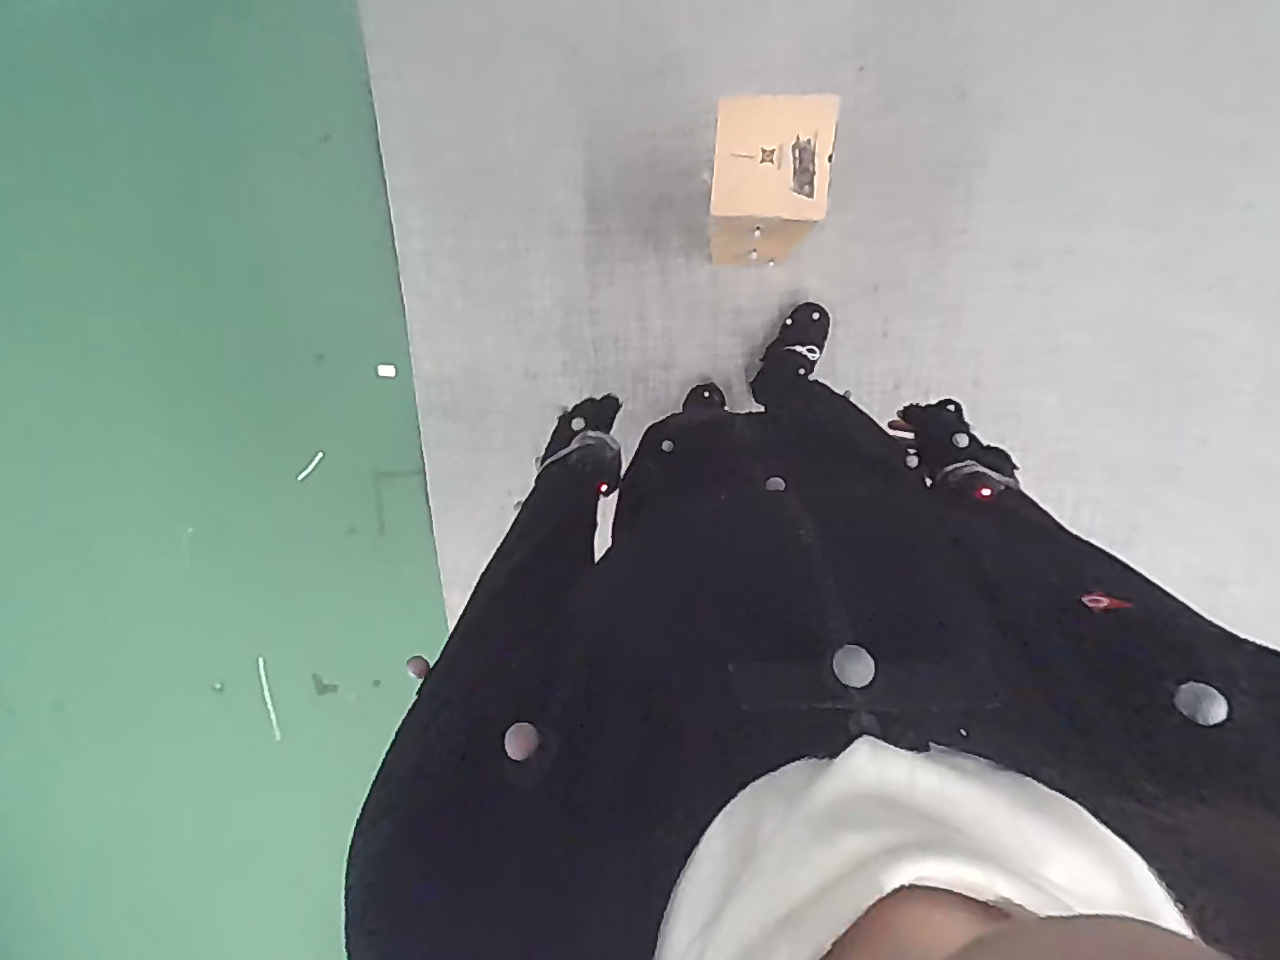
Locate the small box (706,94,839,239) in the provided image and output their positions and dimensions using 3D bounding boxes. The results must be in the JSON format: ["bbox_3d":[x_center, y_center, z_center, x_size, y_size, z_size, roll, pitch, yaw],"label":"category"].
[{"bbox_3d":[0.203,-0.497,0.878,0.179,0.176,0.168,6,105,7],"label":"small box"}]

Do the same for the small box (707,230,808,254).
[{"bbox_3d":[0.224,-0.536,1.037,0.179,0.176,0.168,3,104,5],"label":"small box"}]

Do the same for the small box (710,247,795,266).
[{"bbox_3d":[0.246,-0.573,1.195,0.179,0.176,0.168,2,104,7],"label":"small box"}]
